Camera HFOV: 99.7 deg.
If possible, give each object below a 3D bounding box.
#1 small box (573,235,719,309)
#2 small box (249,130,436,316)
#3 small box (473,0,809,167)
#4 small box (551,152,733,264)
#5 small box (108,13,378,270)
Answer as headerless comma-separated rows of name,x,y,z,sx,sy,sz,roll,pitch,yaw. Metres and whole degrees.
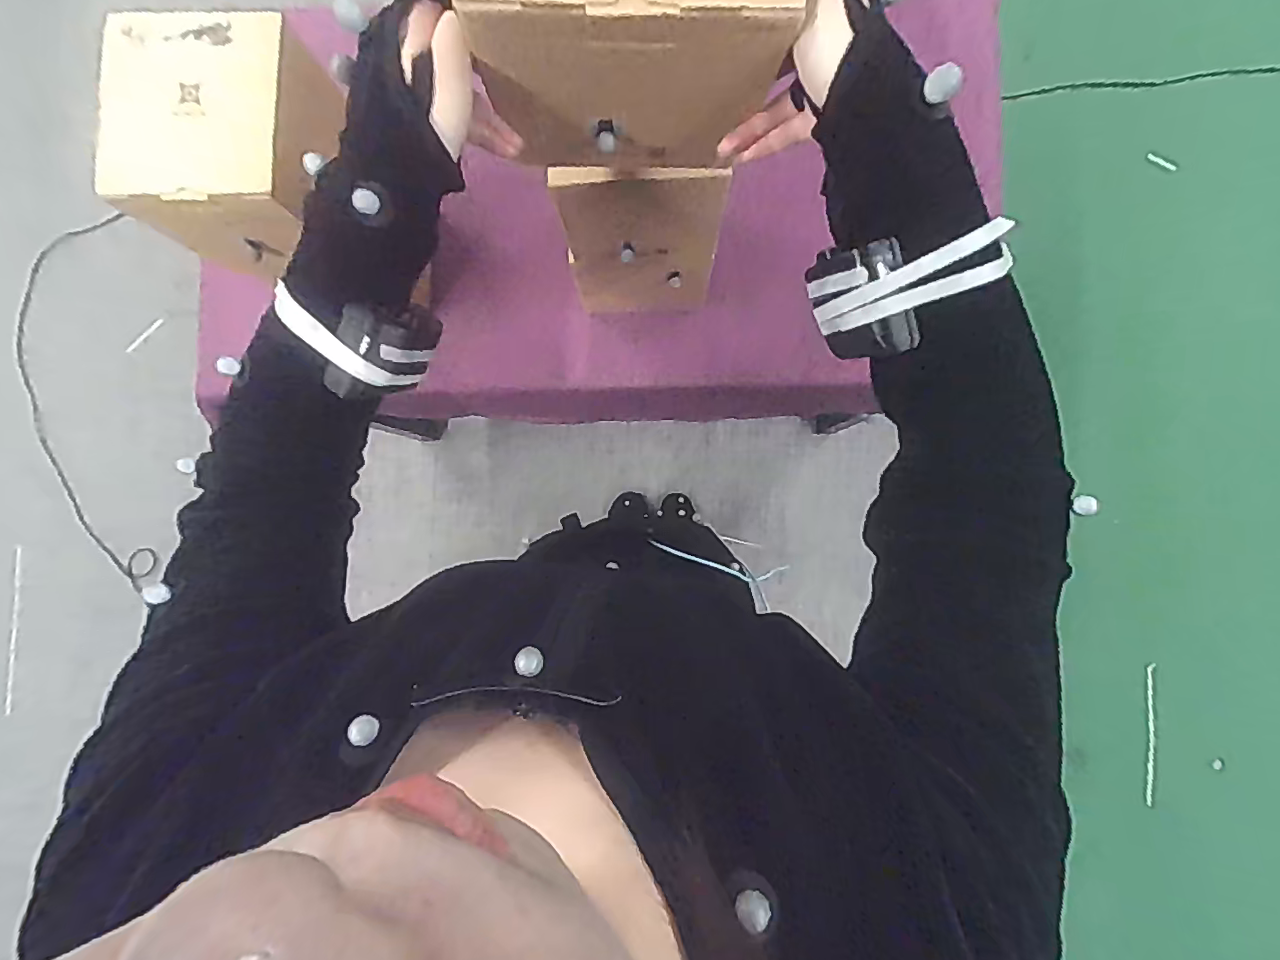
small box,0.007,-0.339,0.727,0.179,0.176,0.168,-1,87,2
small box,-0.391,-0.340,0.738,0.168,0.176,0.179,1,88,2
small box,-0.005,-0.318,0.324,0.168,0.176,0.179,-1,99,-3
small box,0.002,-0.348,0.564,0.168,0.176,0.179,-2,88,2
small box,-0.400,-0.339,0.574,0.168,0.176,0.179,2,88,1
